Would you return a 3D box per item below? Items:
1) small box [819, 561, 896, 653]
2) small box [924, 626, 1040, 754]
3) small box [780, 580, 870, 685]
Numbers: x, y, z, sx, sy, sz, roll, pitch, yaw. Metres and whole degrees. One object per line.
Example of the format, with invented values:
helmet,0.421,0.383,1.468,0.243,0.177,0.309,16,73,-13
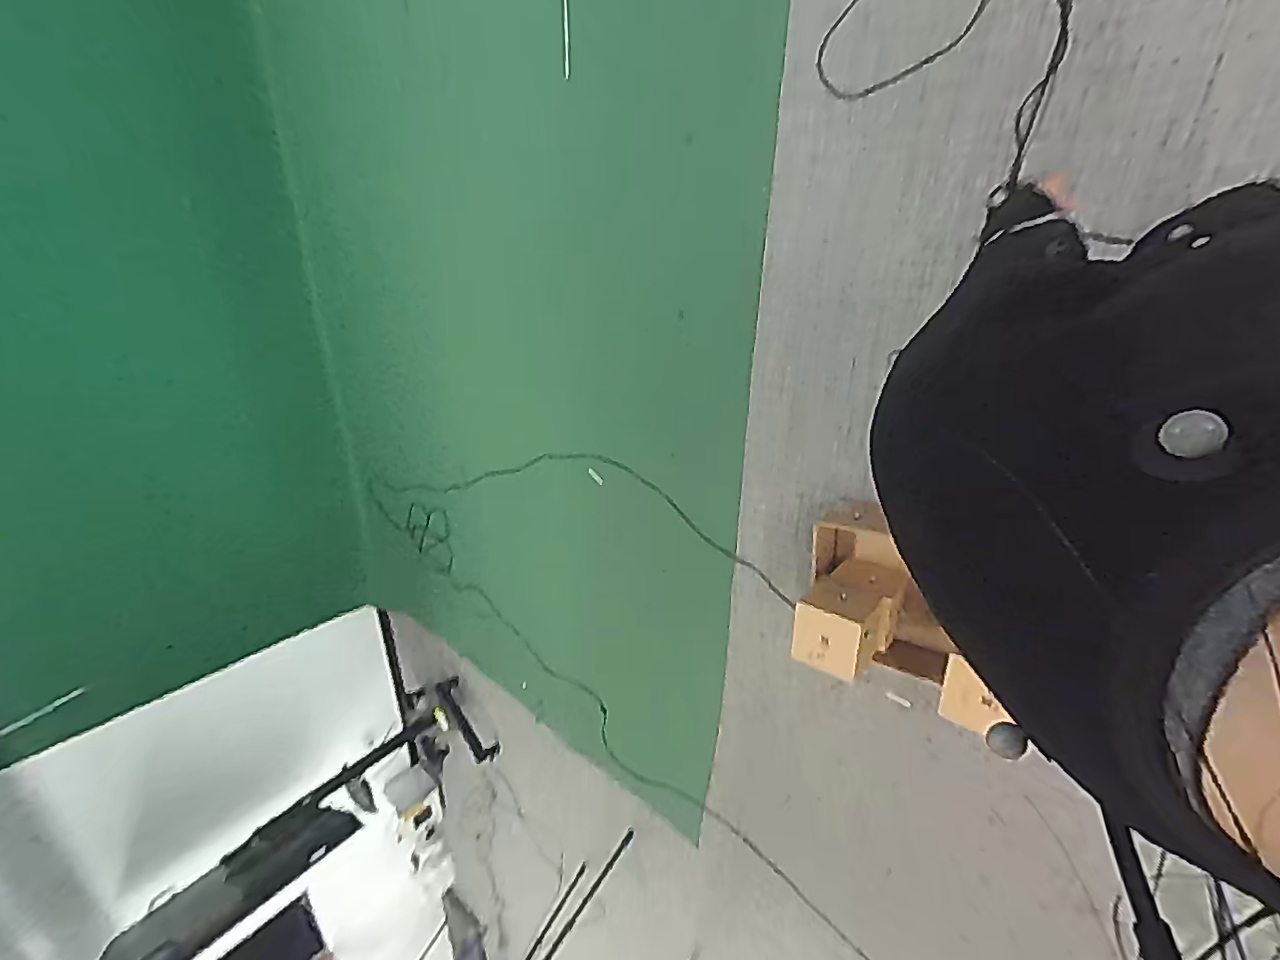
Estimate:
small box,0.597,0.345,1.511,0.179,0.176,0.168,15,115,36
small box,0.754,0.449,1.189,0.179,0.176,0.168,16,114,37
small box,0.481,0.384,1.399,0.168,0.176,0.179,16,116,37
